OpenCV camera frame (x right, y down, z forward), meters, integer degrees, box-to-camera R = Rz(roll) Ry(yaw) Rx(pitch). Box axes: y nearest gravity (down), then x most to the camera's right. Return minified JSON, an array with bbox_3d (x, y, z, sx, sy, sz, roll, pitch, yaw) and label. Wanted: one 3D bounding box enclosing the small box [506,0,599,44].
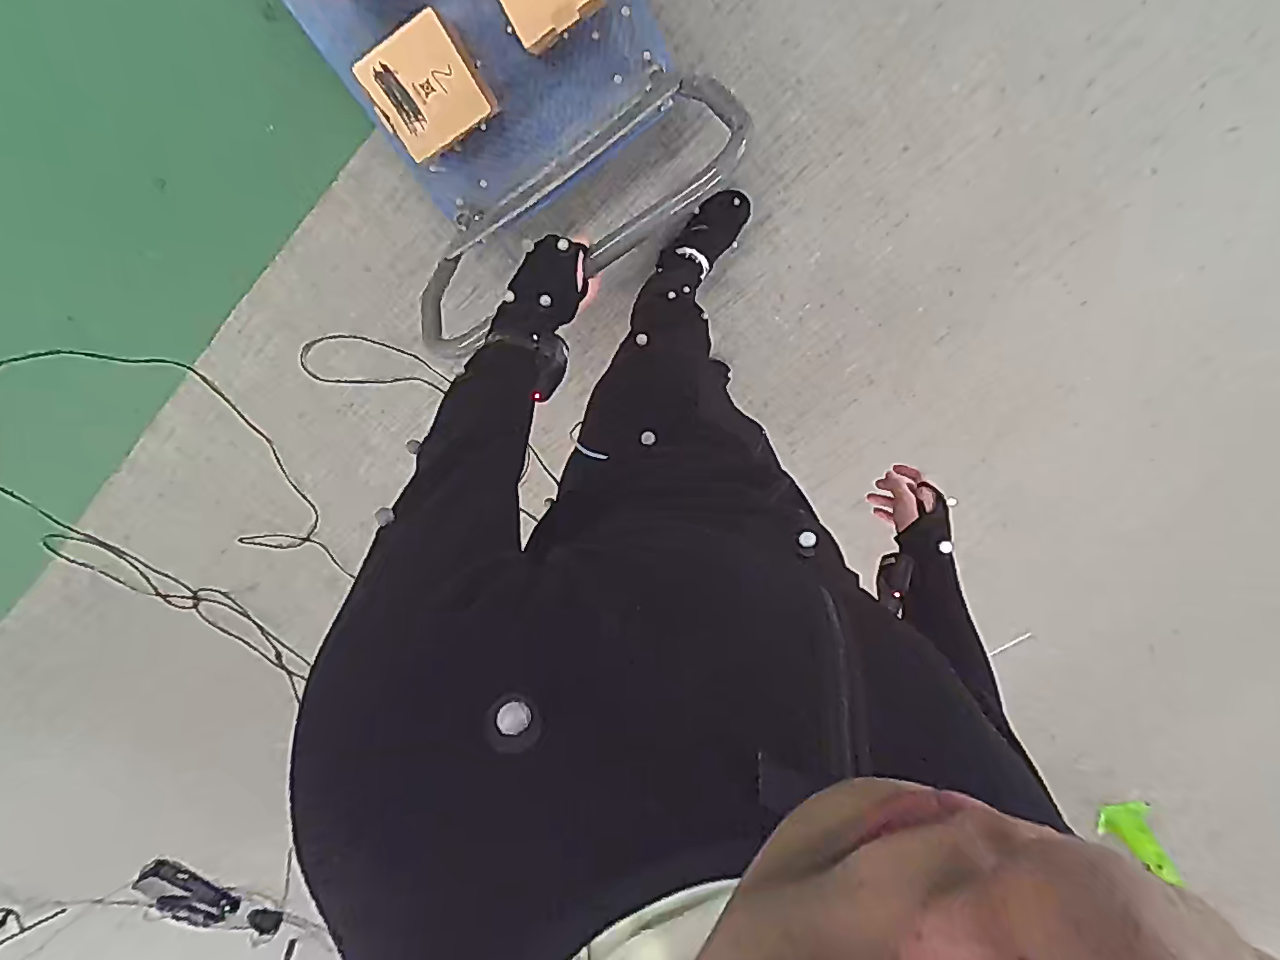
[{"bbox_3d":[-0.169,-0.886,0.919,0.168,0.176,0.179,-27,125,14],"label":"small box"}]
